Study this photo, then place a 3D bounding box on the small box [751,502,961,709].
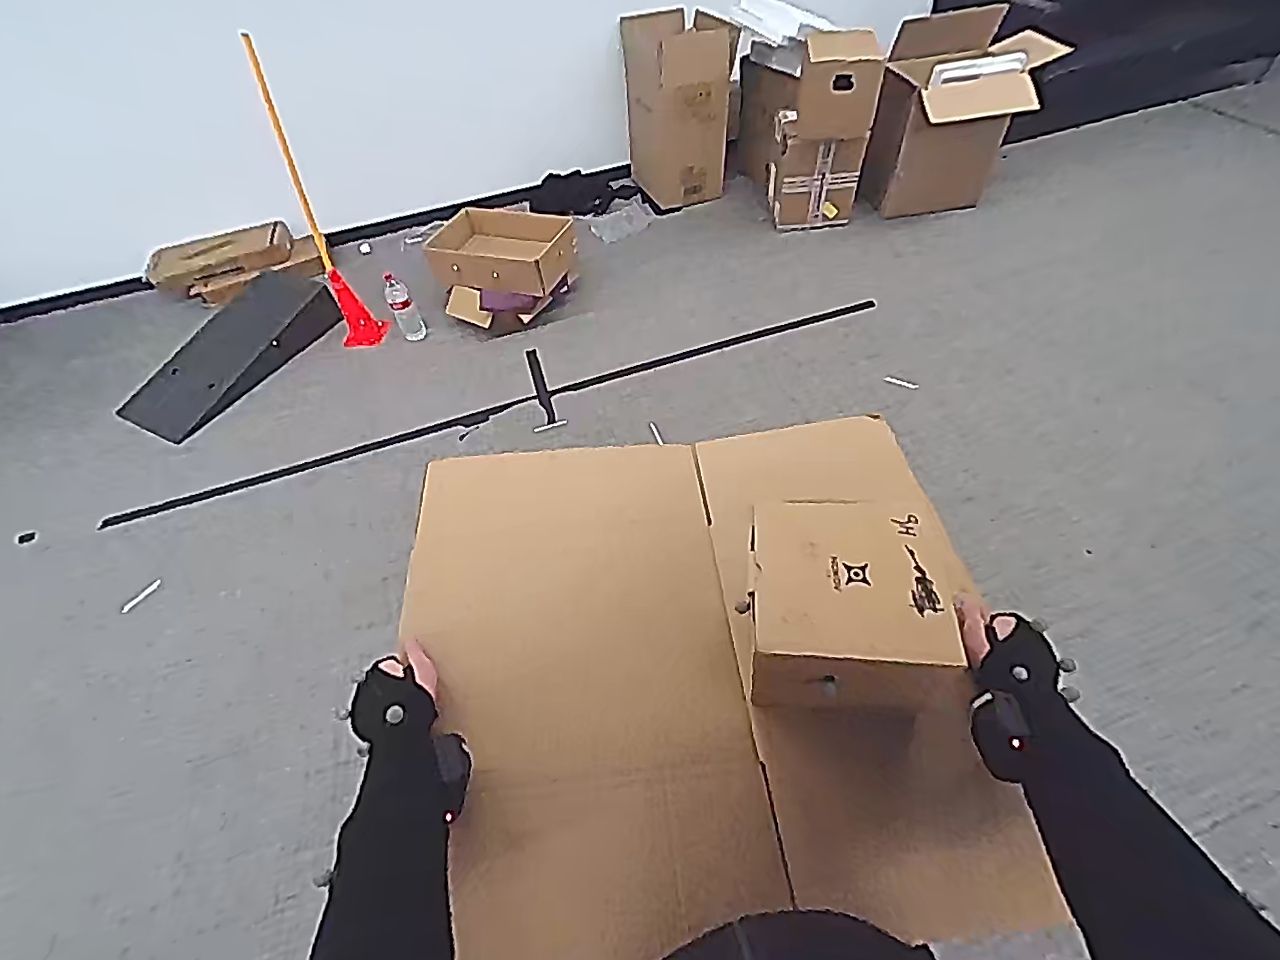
[{"bbox_3d":[0.211,0.137,0.581,0.179,0.176,0.168,0,54,12],"label":"small box"}]
